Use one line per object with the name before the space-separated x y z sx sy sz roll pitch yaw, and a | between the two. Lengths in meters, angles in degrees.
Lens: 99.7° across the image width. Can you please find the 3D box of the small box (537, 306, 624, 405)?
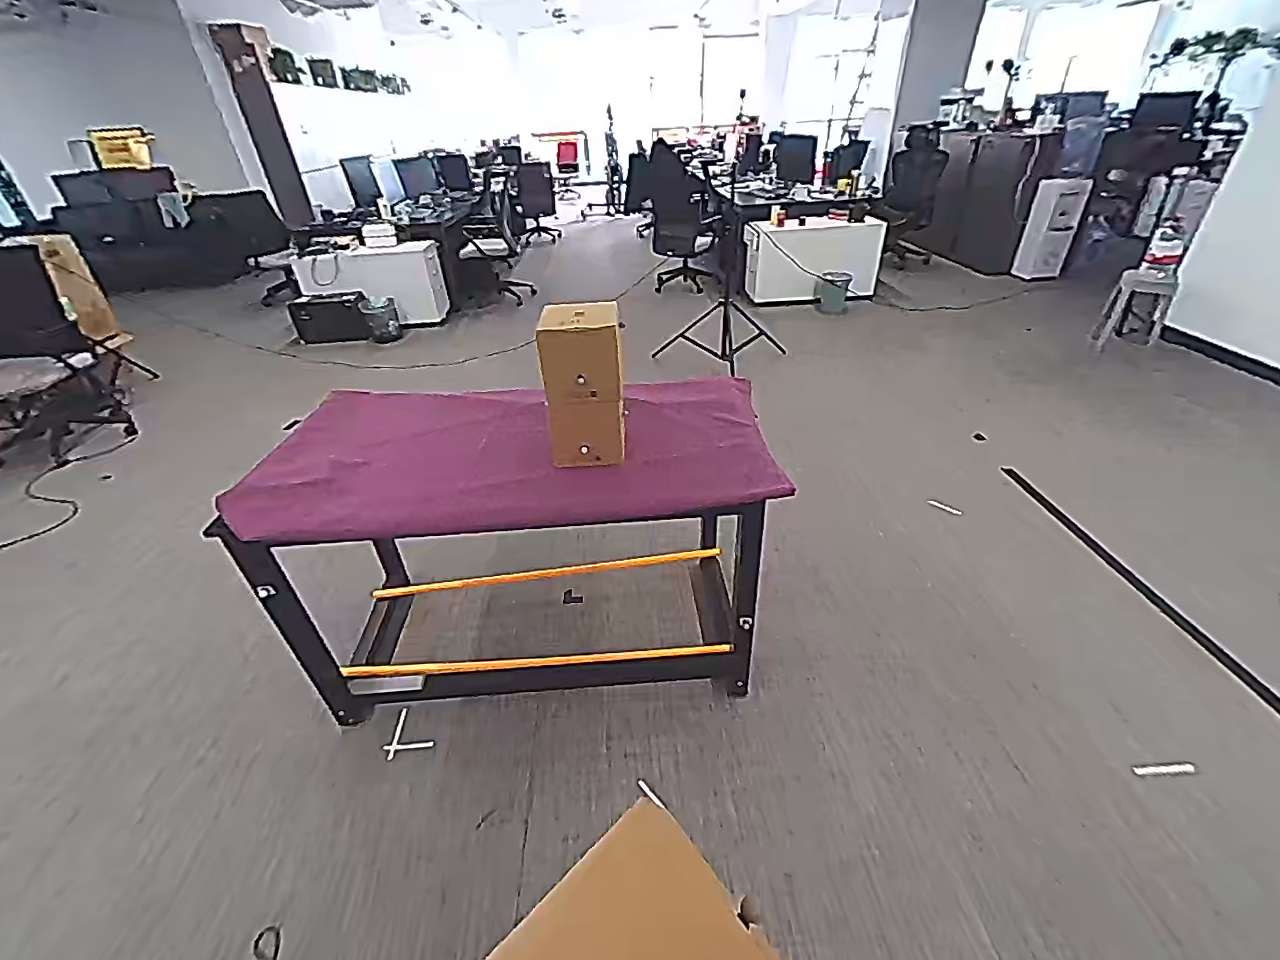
small box | -0.126 -0.280 1.210 0.168 0.176 0.179 -4 34 1

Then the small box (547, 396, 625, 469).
small box | -0.123 -0.142 1.302 0.168 0.176 0.179 -3 34 0
